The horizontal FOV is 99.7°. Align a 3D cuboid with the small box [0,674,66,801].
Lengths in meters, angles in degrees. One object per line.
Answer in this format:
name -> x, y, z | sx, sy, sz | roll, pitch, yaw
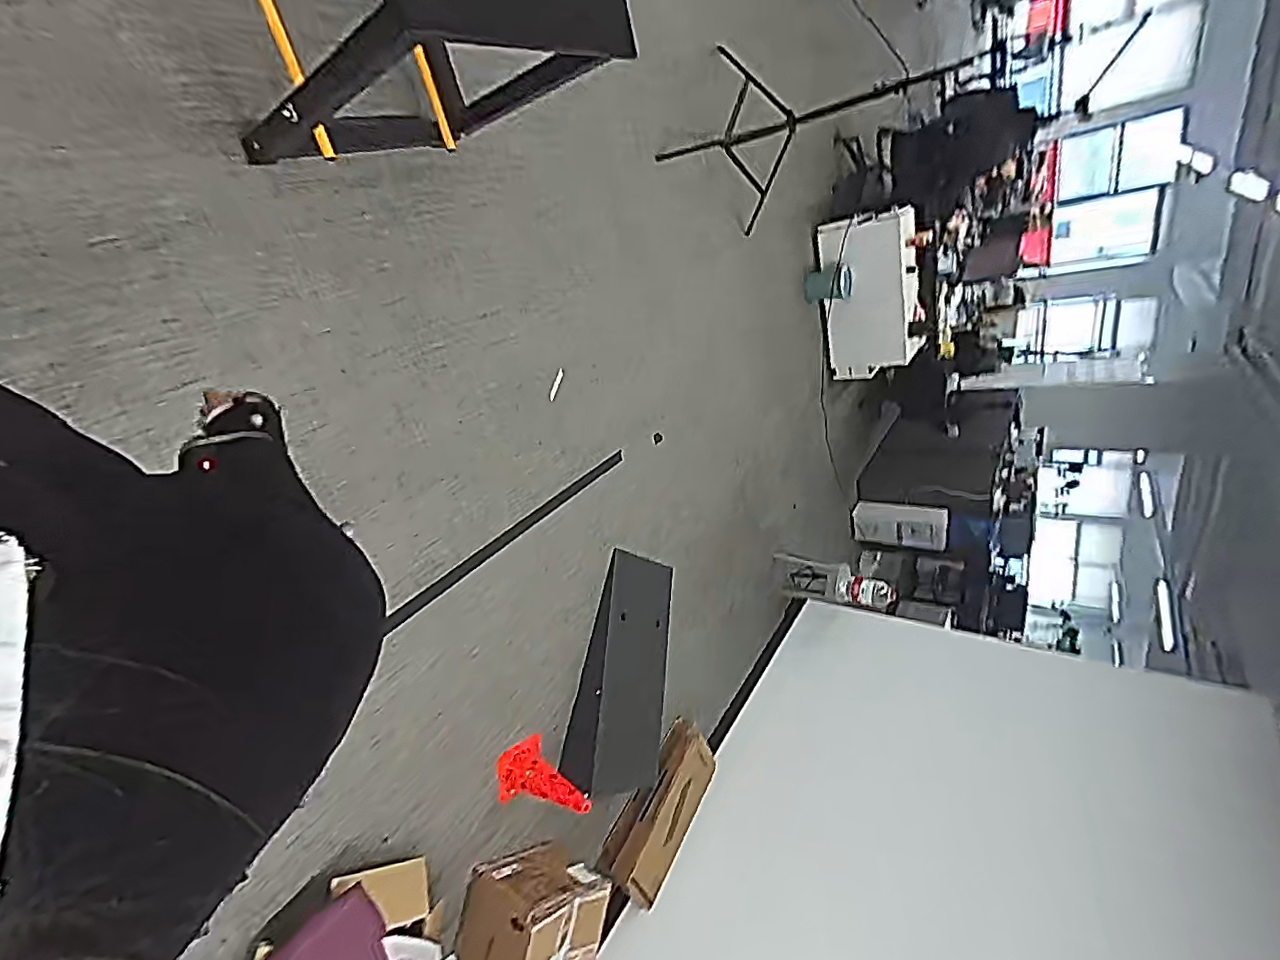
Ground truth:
small box -> -1.171, 0.464, 0.942 | 0.168, 0.176, 0.179 | -38, 122, -43
